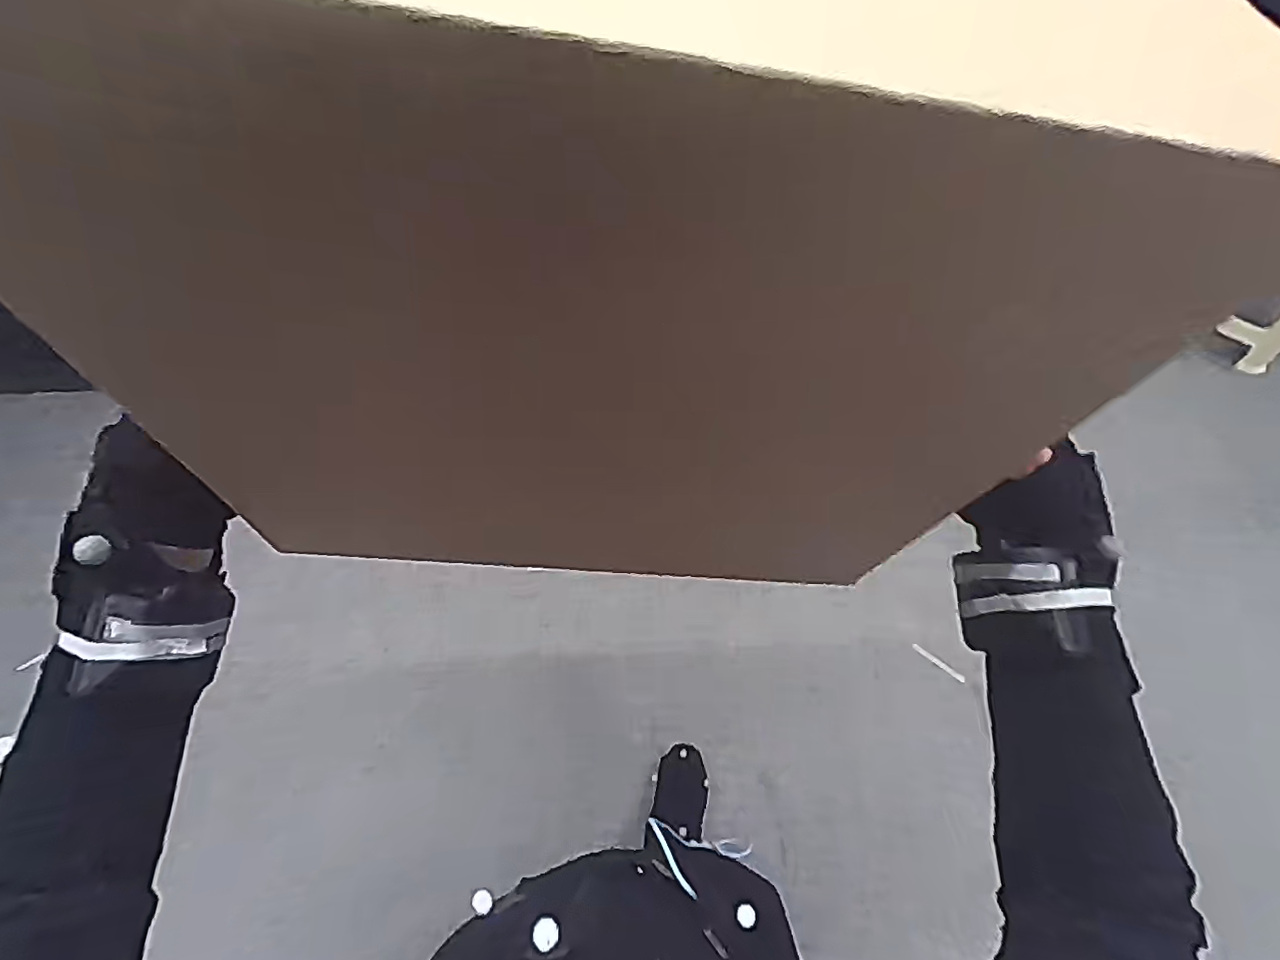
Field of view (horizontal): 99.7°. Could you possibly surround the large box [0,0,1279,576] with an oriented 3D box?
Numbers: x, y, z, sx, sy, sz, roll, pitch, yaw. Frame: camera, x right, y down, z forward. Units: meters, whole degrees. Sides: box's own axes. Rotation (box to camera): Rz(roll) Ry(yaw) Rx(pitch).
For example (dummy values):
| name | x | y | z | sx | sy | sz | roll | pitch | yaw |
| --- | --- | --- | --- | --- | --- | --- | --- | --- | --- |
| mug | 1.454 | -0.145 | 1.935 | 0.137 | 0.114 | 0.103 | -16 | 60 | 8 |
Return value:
| name | x | y | z | sx | sy | sz | roll | pitch | yaw |
| --- | --- | --- | --- | --- | --- | --- | --- | --- | --- |
| large box | -0.007 | -0.144 | 0.340 | 0.408 | 0.320 | 0.320 | 5 | 59 | -8 |
